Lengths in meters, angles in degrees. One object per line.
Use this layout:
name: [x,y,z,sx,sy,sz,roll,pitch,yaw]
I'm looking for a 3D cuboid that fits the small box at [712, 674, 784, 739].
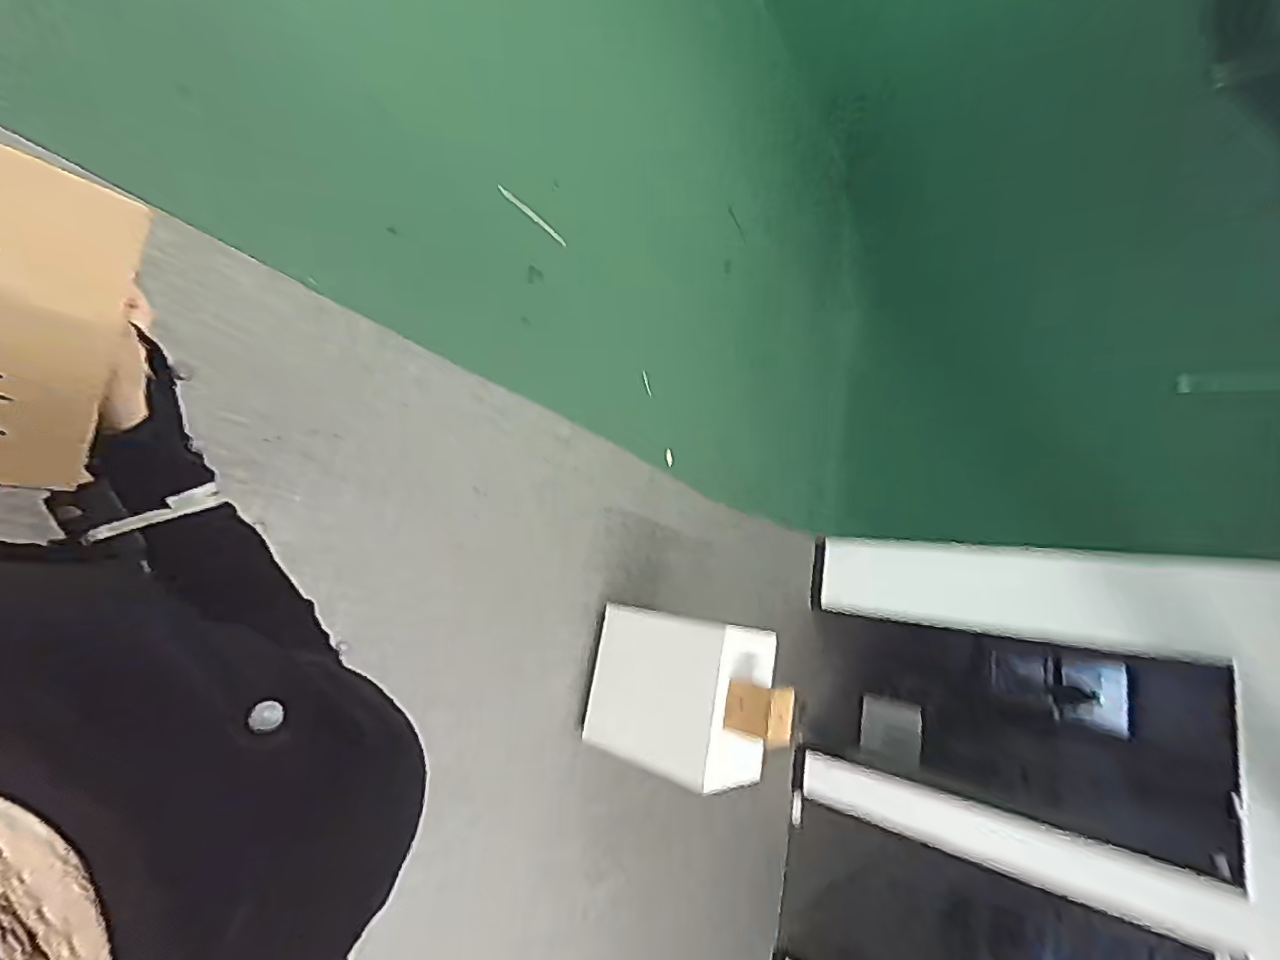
small box: [0.367,0.762,1.835,0.179,0.176,0.168,26,70,-49]
